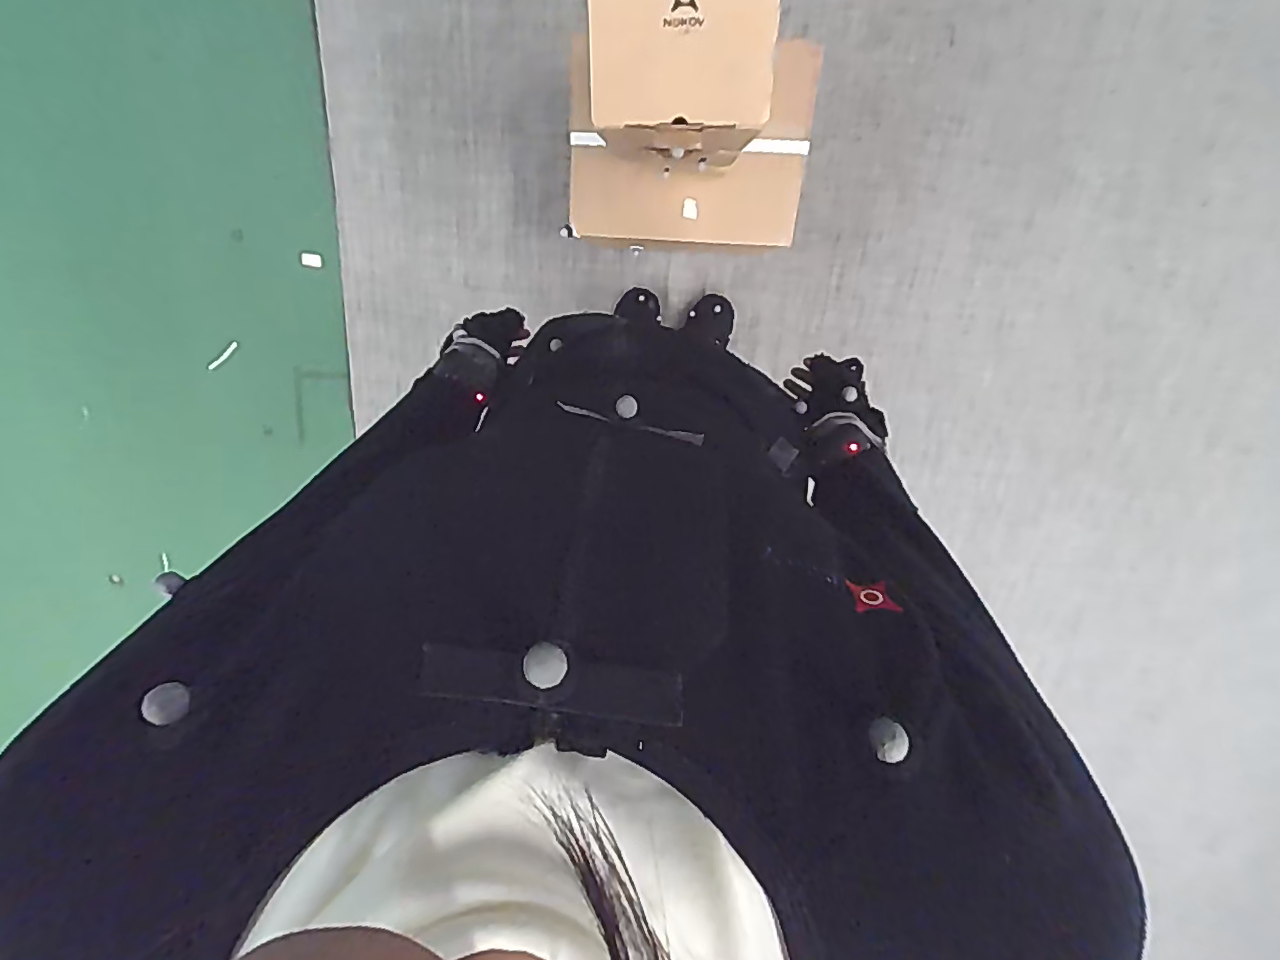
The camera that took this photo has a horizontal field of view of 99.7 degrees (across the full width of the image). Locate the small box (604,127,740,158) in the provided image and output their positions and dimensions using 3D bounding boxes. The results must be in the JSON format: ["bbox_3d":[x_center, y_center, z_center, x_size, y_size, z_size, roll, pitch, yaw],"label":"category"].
[{"bbox_3d":[0.047,-0.516,0.682,0.168,0.176,0.179,3,115,2],"label":"small box"}]

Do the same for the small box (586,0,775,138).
[{"bbox_3d":[0.040,-0.447,0.534,0.168,0.176,0.179,2,117,2],"label":"small box"}]

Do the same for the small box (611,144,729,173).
[{"bbox_3d":[0.058,-0.581,0.828,0.179,0.176,0.168,11,115,-1],"label":"small box"}]
